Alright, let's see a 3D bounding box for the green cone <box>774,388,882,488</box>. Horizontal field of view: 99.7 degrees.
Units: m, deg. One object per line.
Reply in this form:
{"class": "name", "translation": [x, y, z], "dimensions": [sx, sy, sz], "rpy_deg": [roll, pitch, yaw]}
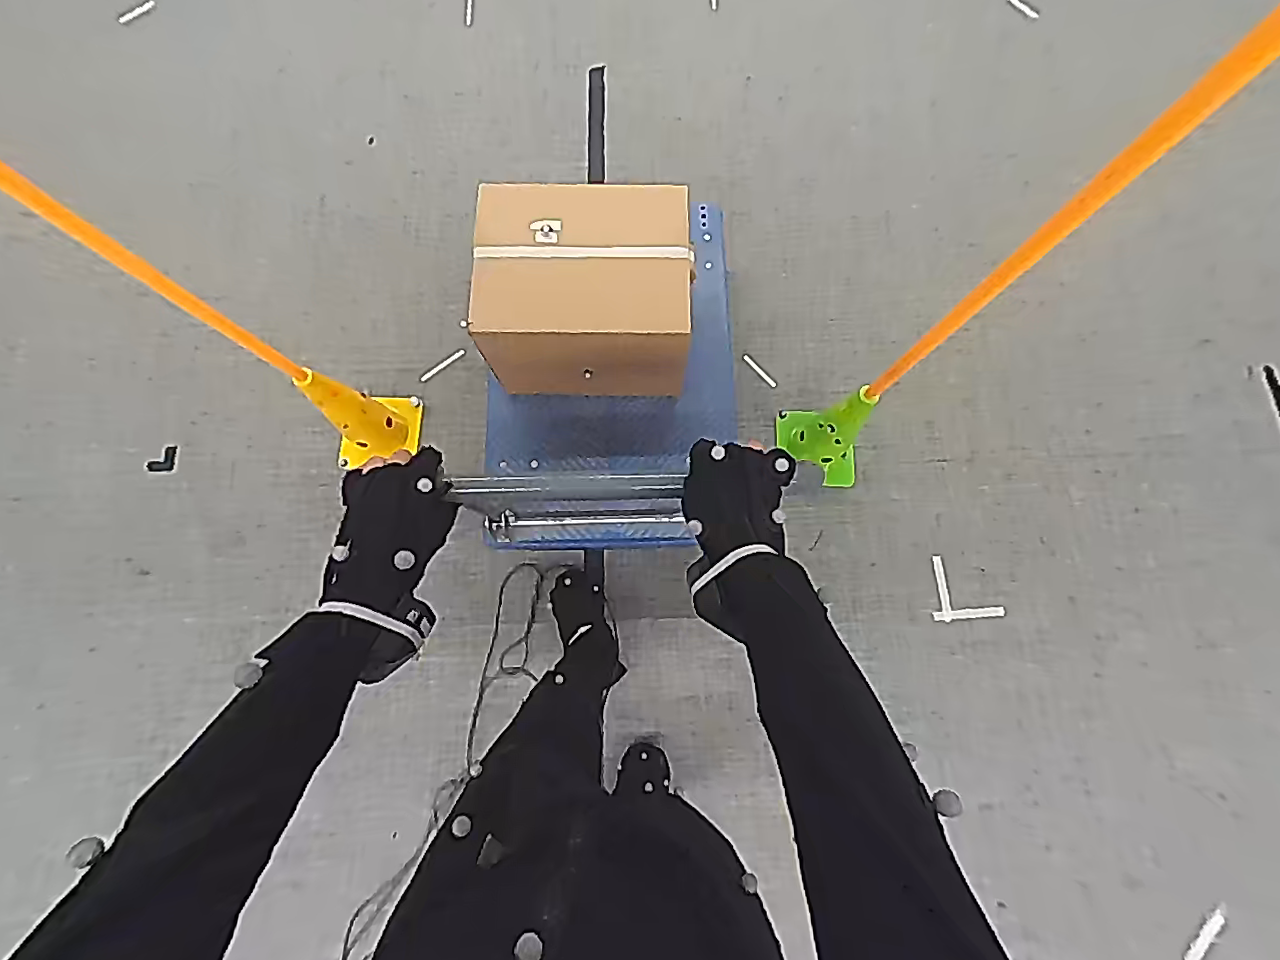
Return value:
{"class": "green cone", "translation": [0.456, -0.121, 1.252], "dimensions": [0.202, 0.368, 0.200], "rpy_deg": [3, 76, 0]}

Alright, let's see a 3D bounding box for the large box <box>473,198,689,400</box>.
{"class": "large box", "translation": [-0.106, -0.367, 1.167], "dimensions": [0.408, 0.320, 0.320], "rpy_deg": [1, 77, 1]}
